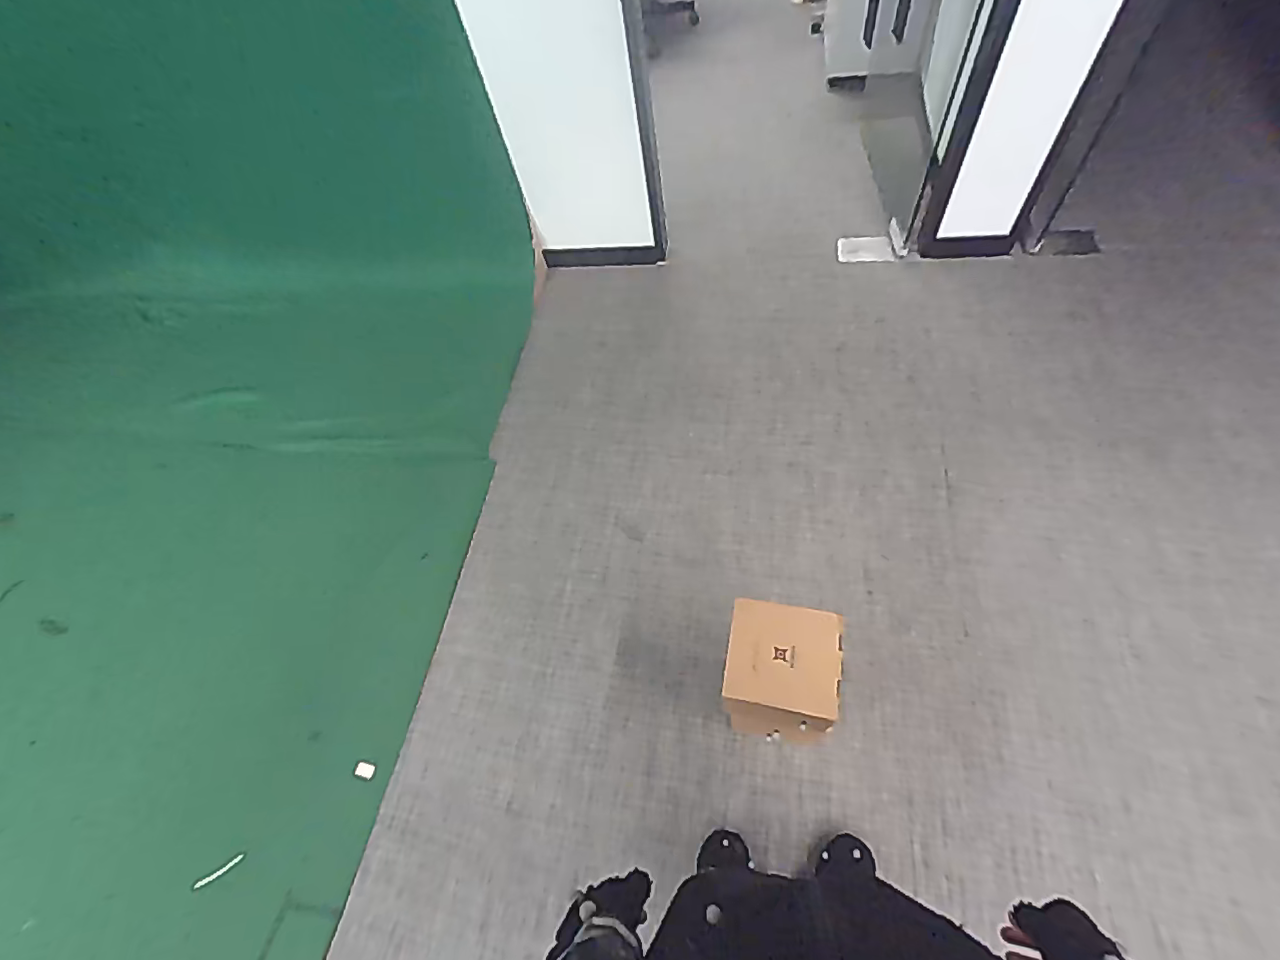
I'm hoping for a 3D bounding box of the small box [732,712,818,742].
[{"bbox_3d":[0.307,0.477,1.210,0.179,0.176,0.168,8,60,15],"label":"small box"}]

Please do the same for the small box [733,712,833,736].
[{"bbox_3d":[0.282,0.401,1.071,0.179,0.176,0.168,7,62,14],"label":"small box"}]

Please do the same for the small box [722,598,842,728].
[{"bbox_3d":[0.243,0.320,0.934,0.179,0.176,0.168,5,60,15],"label":"small box"}]
